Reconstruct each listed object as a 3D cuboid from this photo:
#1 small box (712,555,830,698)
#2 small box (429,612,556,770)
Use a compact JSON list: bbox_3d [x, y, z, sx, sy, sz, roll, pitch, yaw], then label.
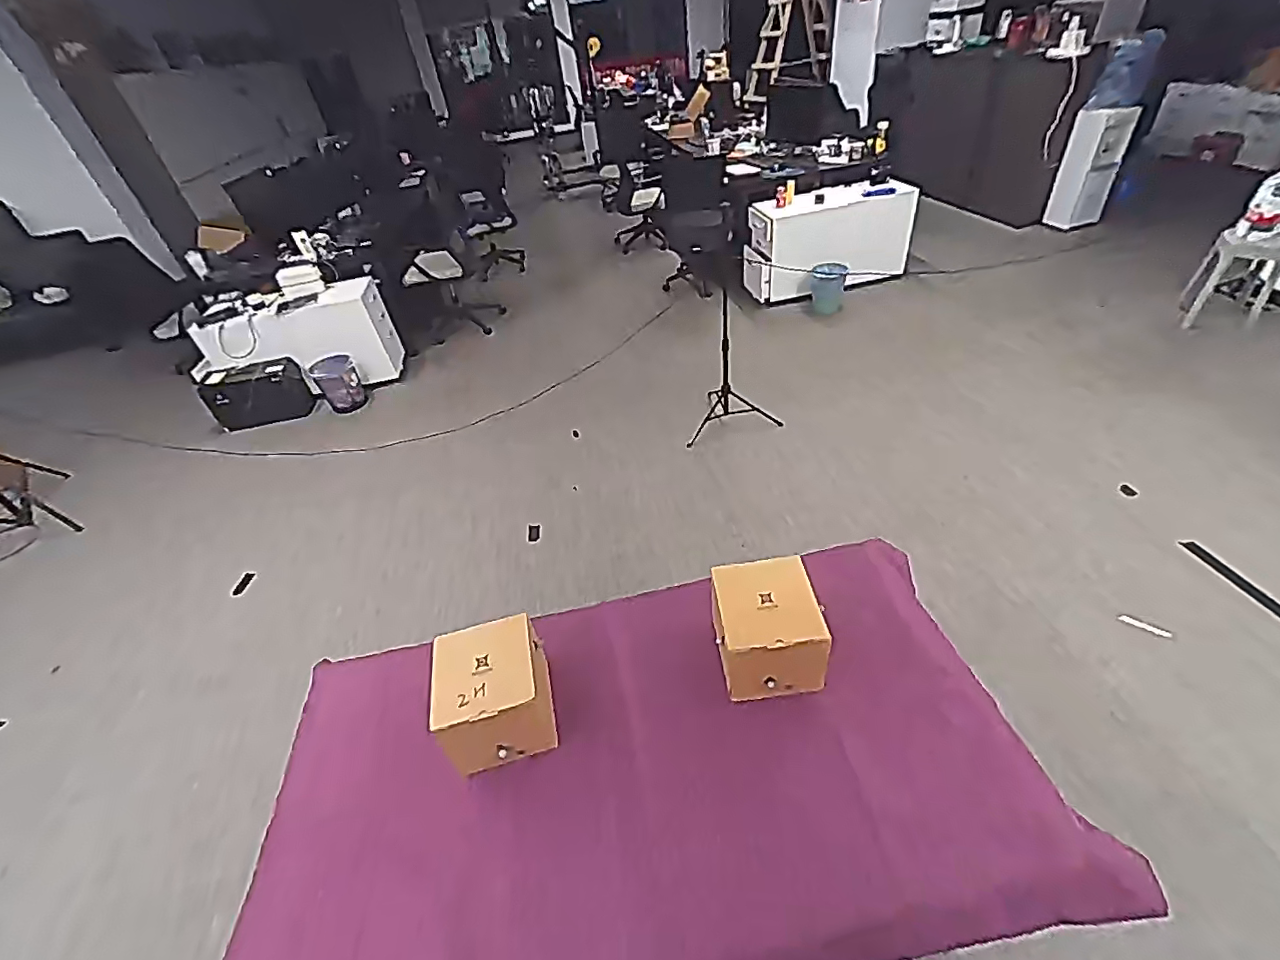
[{"bbox_3d":[0.225,0.264,0.975,0.168,0.176,0.179,-9,41,1],"label":"small box"},{"bbox_3d":[-0.251,0.366,0.943,0.168,0.176,0.179,-14,41,-6],"label":"small box"}]
